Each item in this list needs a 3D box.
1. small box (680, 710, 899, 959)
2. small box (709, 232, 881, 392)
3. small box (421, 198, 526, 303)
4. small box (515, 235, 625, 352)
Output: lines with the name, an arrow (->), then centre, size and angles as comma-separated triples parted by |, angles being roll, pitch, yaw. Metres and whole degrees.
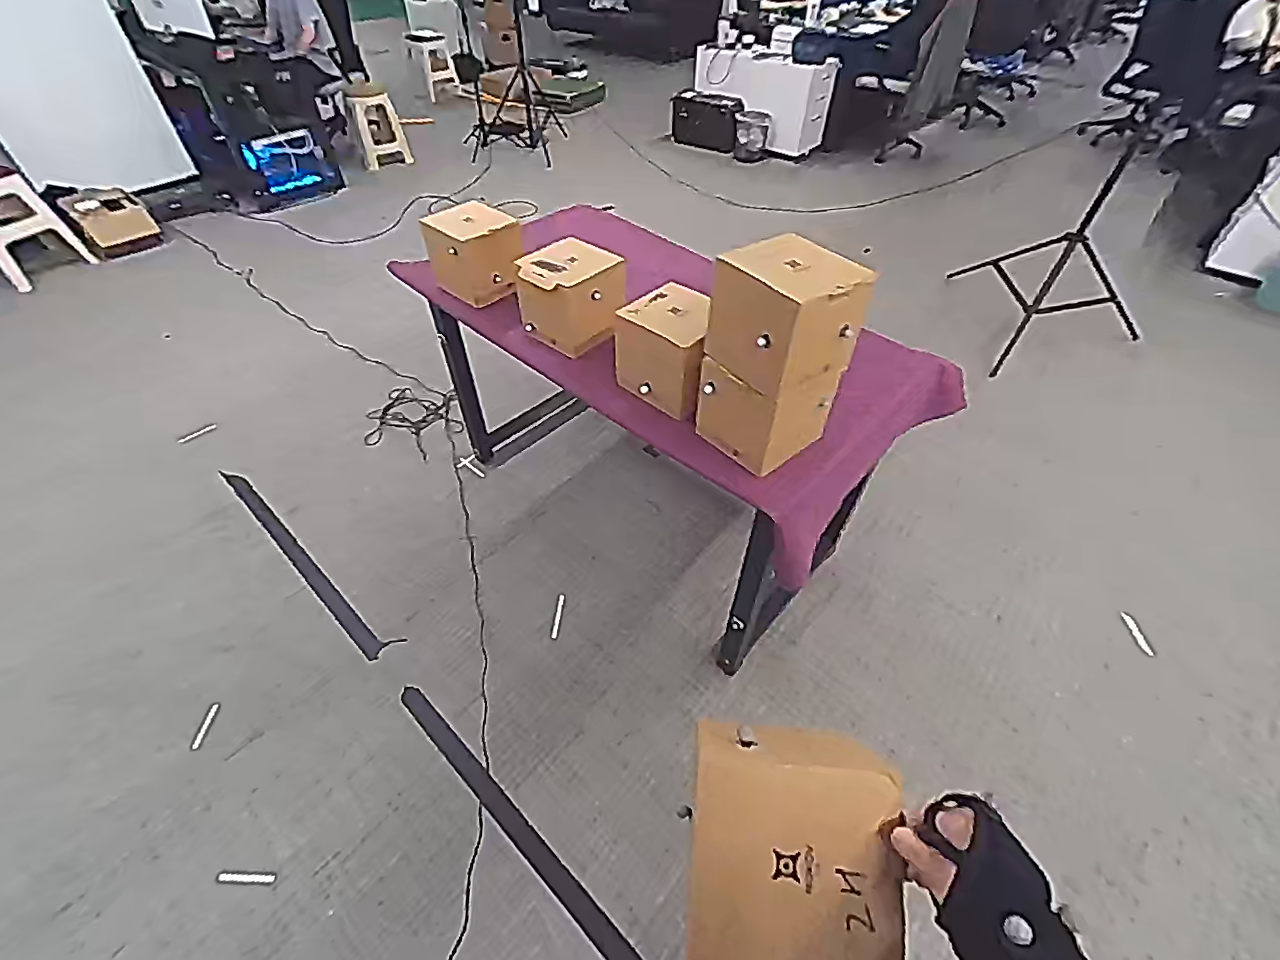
small box -> 0.133, 0.332, 0.531 | 0.179, 0.176, 0.168 | 4, 77, 5
small box -> 0.228, -0.256, 0.839 | 0.168, 0.176, 0.179 | -26, 52, -25
small box -> -0.399, -0.561, 1.326 | 0.179, 0.176, 0.168 | 33, 55, 25
small box -> -0.145, -0.408, 1.191 | 0.168, 0.176, 0.179 | 33, 55, 25
